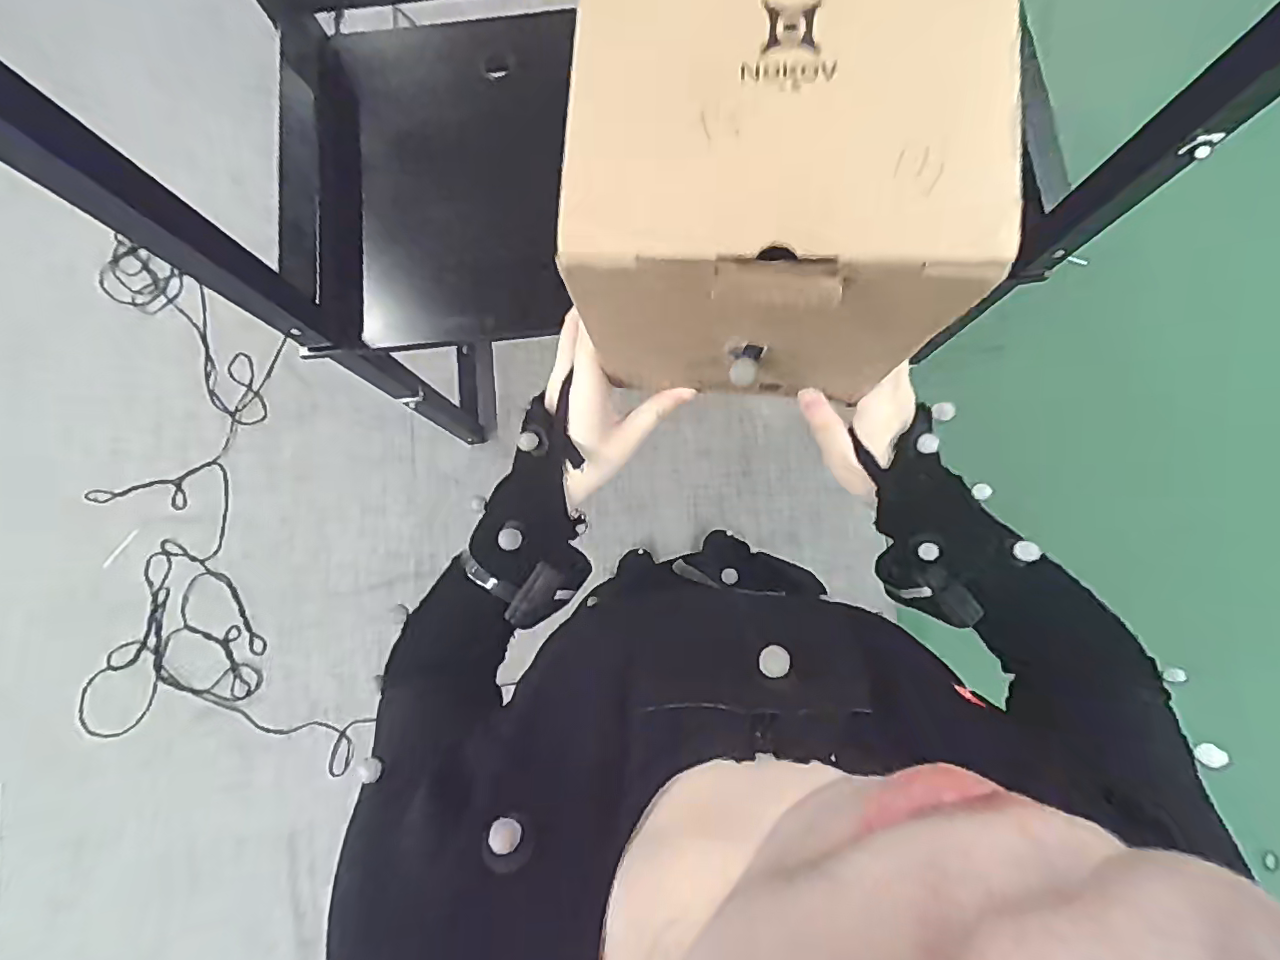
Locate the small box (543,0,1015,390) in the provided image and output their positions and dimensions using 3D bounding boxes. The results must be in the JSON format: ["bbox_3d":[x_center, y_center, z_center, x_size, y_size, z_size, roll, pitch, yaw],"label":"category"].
[{"bbox_3d":[0.059,-0.153,0.280,0.168,0.176,0.179,4,83,6],"label":"small box"}]
